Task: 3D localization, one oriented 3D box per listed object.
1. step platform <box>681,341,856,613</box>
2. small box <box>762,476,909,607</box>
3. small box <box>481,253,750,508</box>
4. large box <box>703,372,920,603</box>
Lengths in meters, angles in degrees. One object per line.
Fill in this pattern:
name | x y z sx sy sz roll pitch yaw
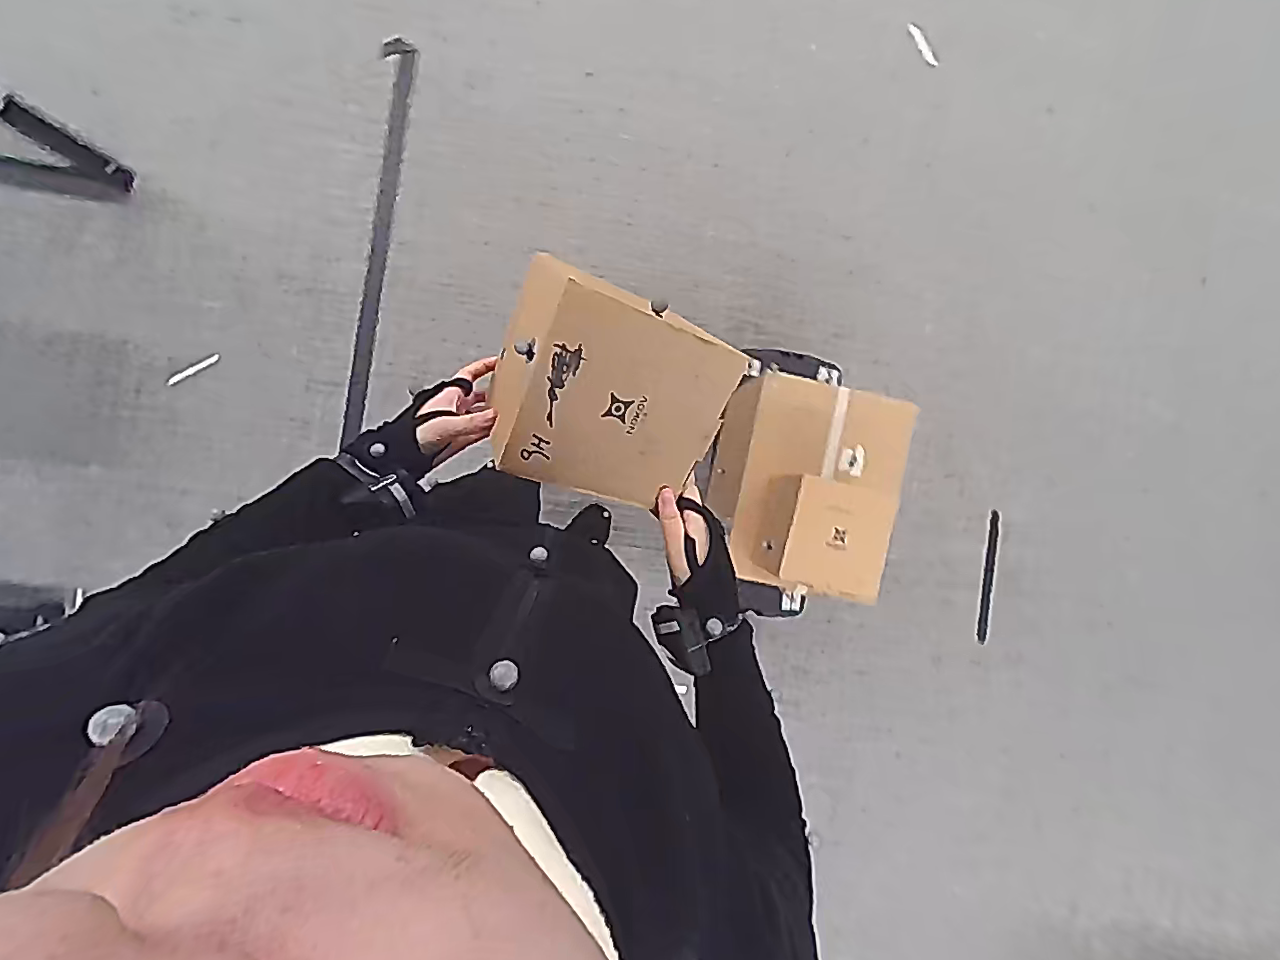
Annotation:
step platform | 0.329 -0.006 1.413 0.286 0.204 0.684 15 89 -4
small box | 0.323 0.097 0.929 0.168 0.176 0.179 15 89 -3
small box | -0.037 -0.098 0.509 0.179 0.176 0.168 15 111 -27
large box | 0.344 0.022 1.176 0.320 0.320 0.408 13 88 -5
